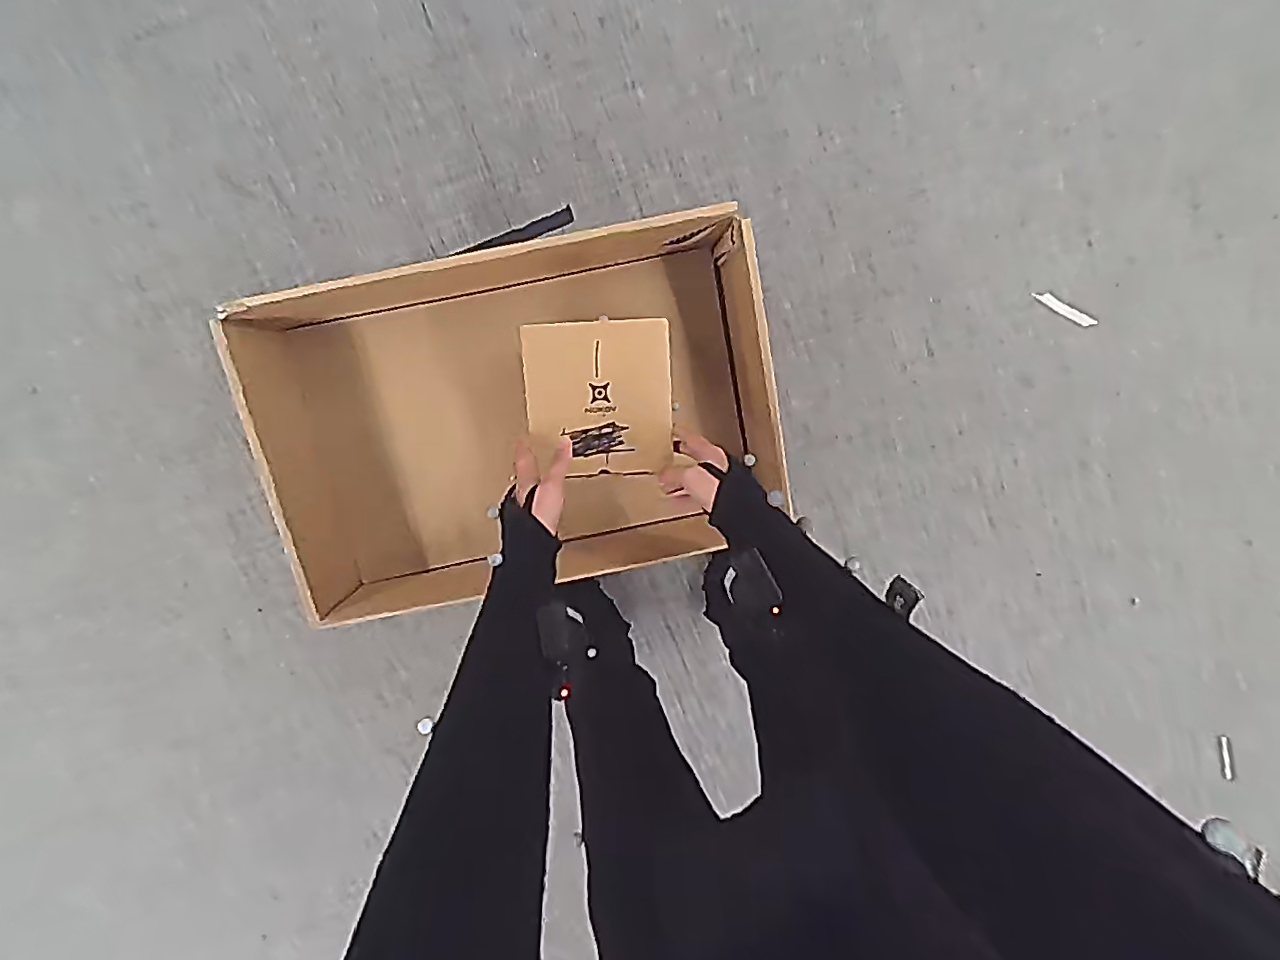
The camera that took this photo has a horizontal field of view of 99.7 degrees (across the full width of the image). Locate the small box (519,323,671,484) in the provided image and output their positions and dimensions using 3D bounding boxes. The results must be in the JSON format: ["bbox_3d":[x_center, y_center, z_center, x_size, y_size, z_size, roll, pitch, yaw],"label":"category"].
[{"bbox_3d":[-0.049,-0.099,0.684,0.168,0.176,0.179,-3,100,-1],"label":"small box"}]
